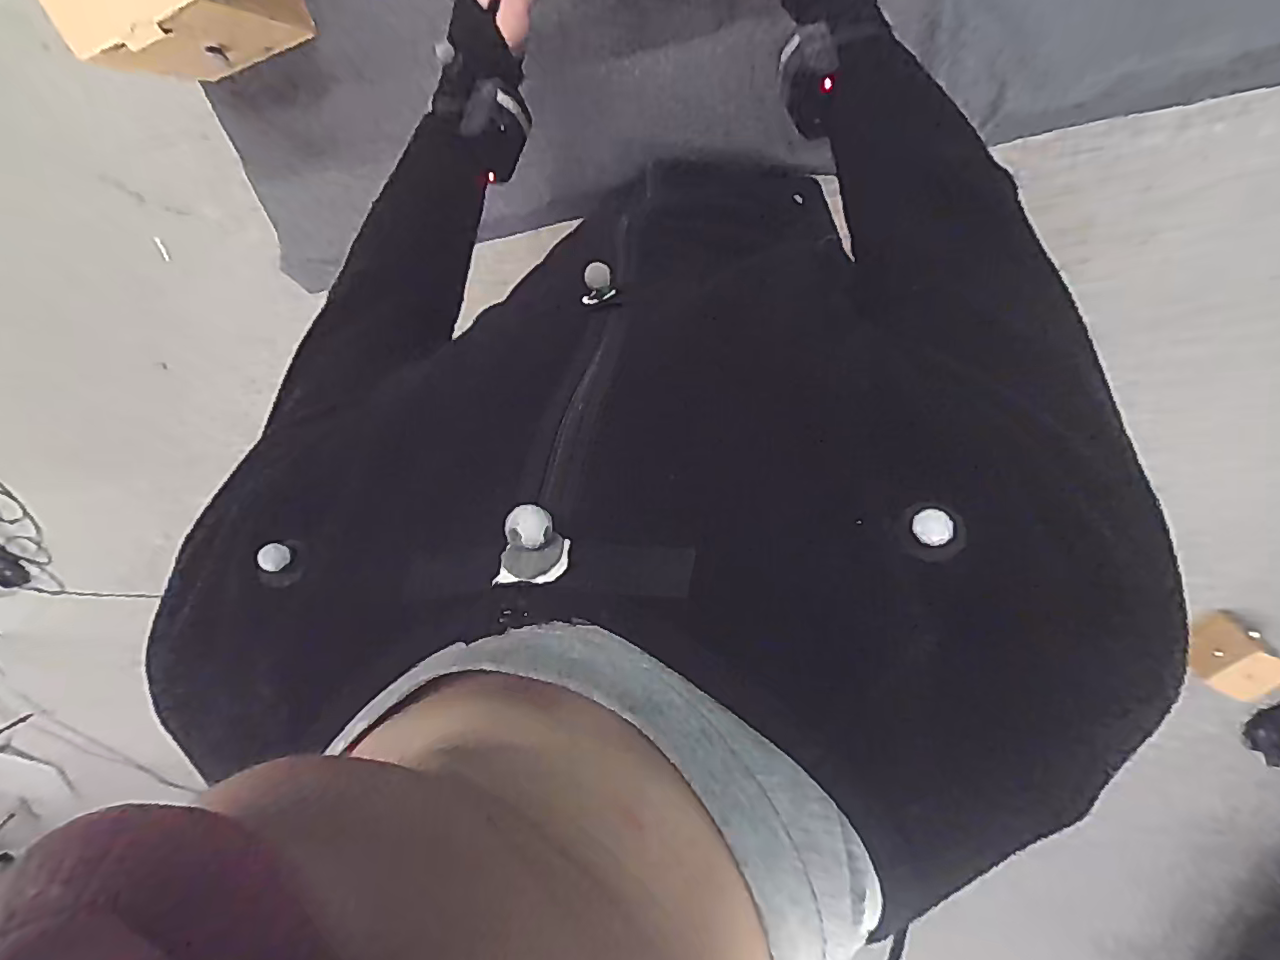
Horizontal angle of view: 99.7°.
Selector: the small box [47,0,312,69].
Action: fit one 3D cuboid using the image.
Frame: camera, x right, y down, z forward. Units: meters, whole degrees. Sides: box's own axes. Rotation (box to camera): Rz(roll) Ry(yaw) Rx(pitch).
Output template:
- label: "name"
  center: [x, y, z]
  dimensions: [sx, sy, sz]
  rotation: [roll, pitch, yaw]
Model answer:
- label: "small box"
  center: [-0.478, -0.537, 0.536]
  dimensions: [0.168, 0.176, 0.179]
  rotation: [-10, 120, 15]
